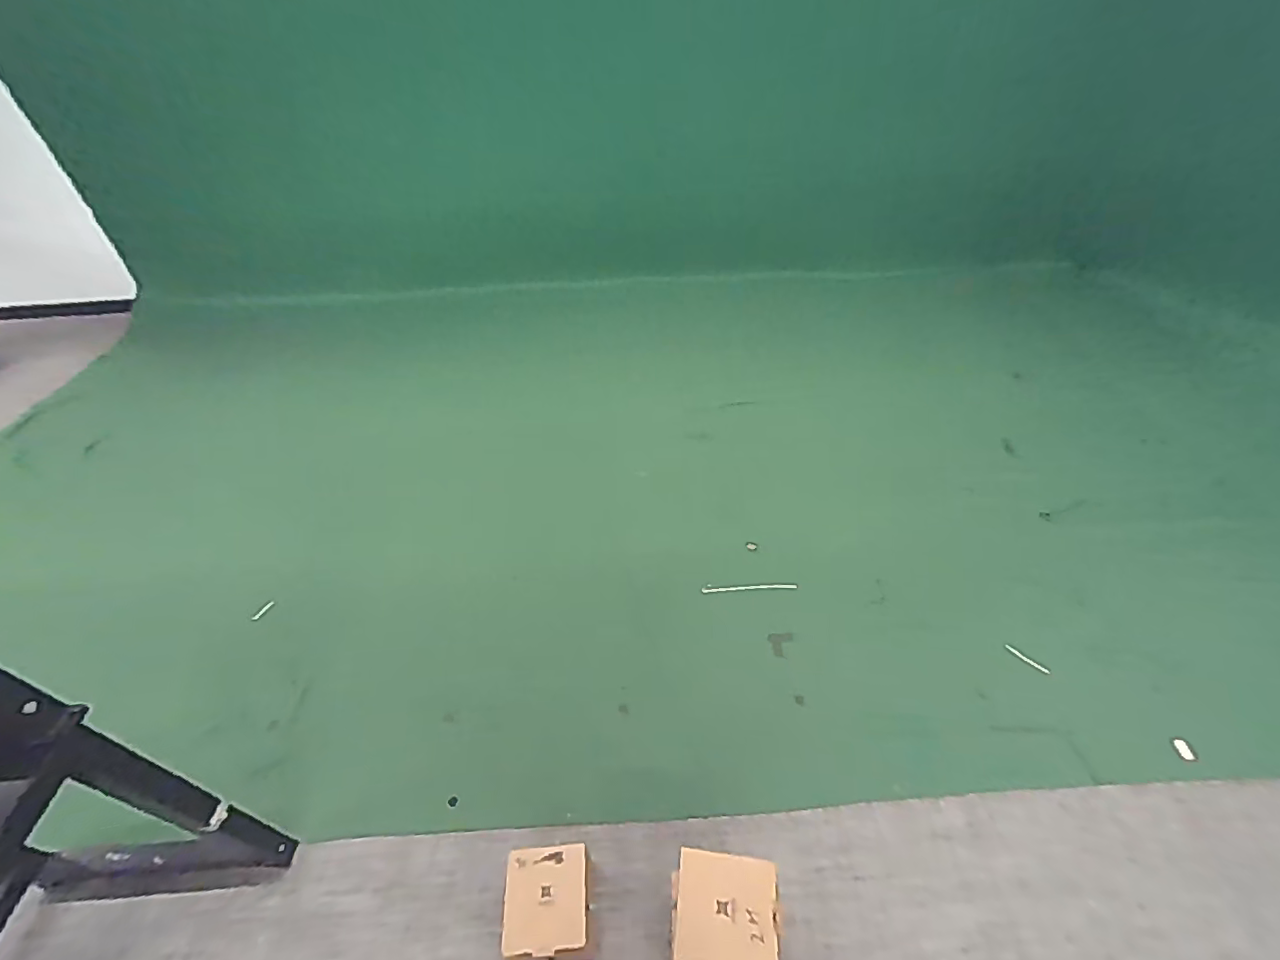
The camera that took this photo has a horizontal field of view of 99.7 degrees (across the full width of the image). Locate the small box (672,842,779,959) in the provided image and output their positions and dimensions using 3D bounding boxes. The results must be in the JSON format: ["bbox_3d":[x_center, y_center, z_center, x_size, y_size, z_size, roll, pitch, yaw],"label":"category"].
[{"bbox_3d":[0.152,0.786,0.983,0.179,0.176,0.168,4,45,7],"label":"small box"}]

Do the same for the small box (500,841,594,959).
[{"bbox_3d":[-0.187,0.886,1.135,0.168,0.176,0.179,-5,44,-2],"label":"small box"}]
